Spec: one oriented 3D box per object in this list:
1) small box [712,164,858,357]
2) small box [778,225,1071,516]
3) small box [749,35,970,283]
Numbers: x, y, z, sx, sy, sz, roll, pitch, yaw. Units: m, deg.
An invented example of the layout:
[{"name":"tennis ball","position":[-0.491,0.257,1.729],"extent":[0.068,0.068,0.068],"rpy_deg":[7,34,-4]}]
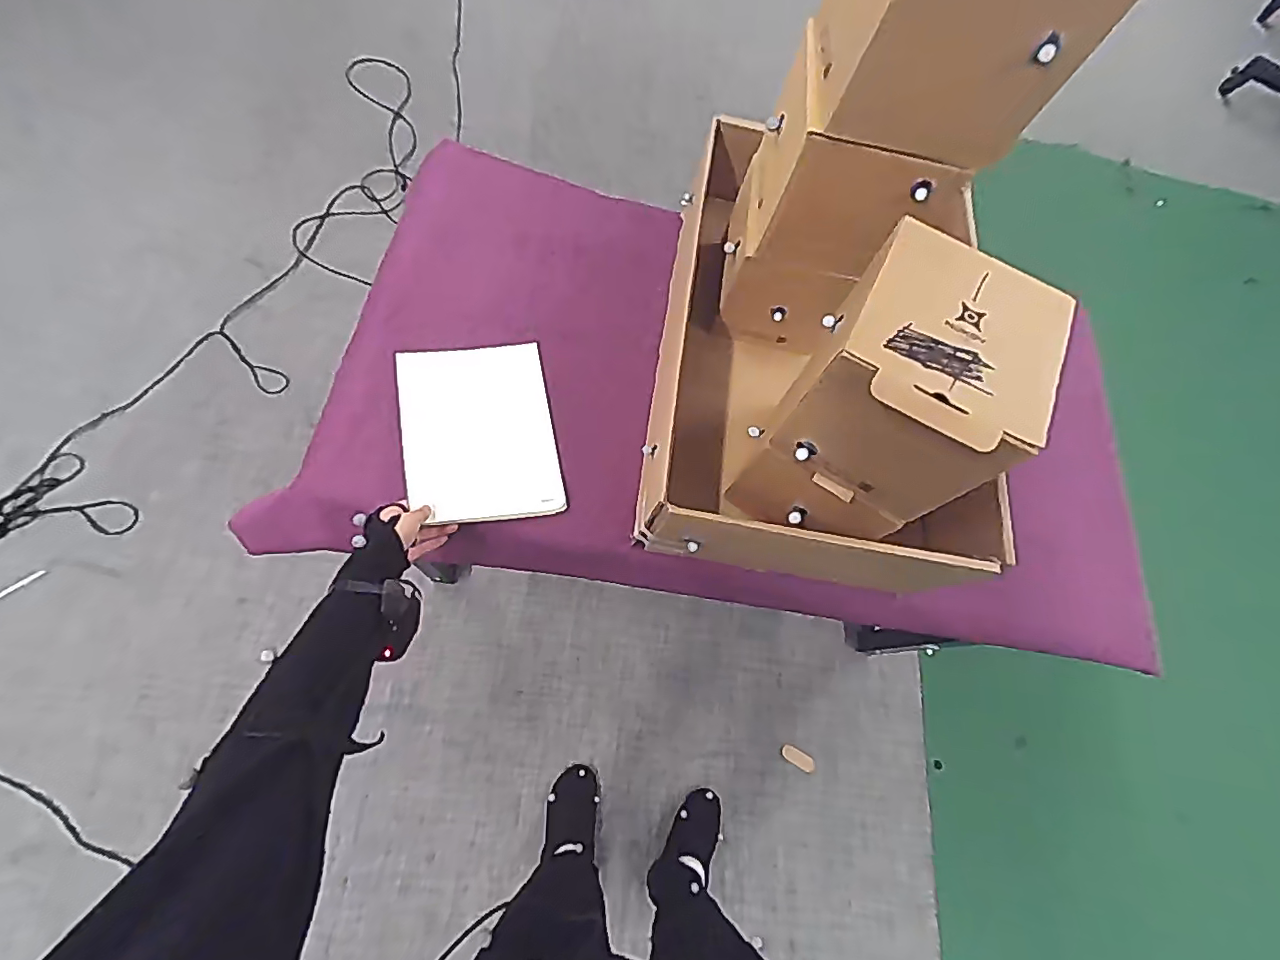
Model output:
[{"name":"small box","position":[0.205,-0.300,0.770],"extent":[0.168,0.176,0.179],"rpy_deg":[10,69,-5]},{"name":"small box","position":[0.251,-0.091,0.513],"extent":[0.168,0.176,0.179],"rpy_deg":[29,66,5]},{"name":"small box","position":[0.232,-0.352,0.620],"extent":[0.179,0.176,0.168],"rpy_deg":[8,69,-6]}]
